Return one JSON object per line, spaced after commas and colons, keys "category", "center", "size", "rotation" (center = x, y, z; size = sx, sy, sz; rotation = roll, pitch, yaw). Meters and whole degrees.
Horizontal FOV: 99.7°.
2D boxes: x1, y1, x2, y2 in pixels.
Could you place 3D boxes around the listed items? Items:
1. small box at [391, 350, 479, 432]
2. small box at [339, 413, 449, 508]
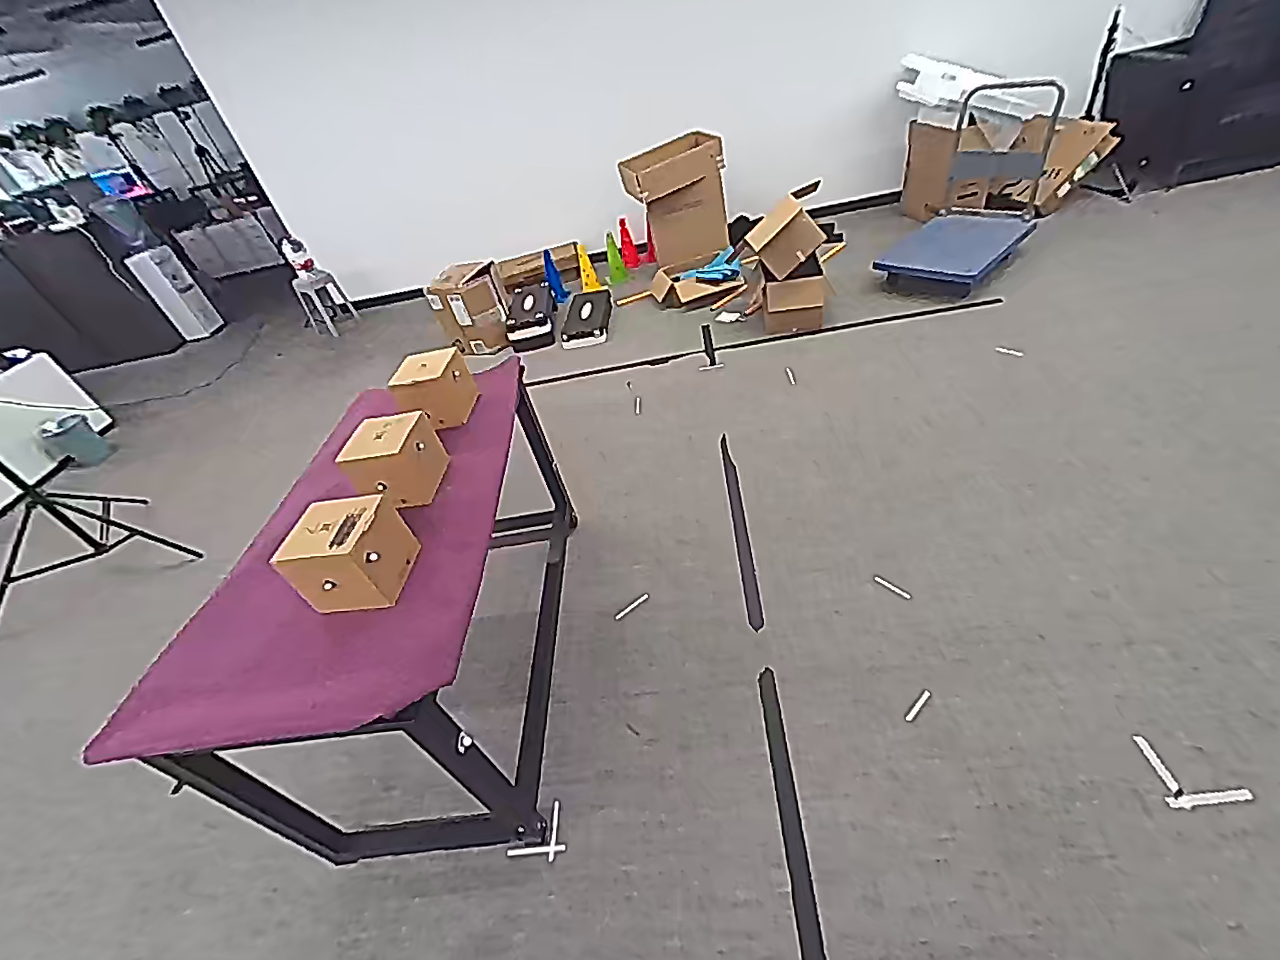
{"category": "small box", "center": [-0.602, -0.261, 1.614], "size": [0.168, 0.176, 0.179], "rotation": [-8, 41, 10]}
{"category": "small box", "center": [-0.605, -0.043, 1.359], "size": [0.168, 0.176, 0.179], "rotation": [-7, 40, 9]}
